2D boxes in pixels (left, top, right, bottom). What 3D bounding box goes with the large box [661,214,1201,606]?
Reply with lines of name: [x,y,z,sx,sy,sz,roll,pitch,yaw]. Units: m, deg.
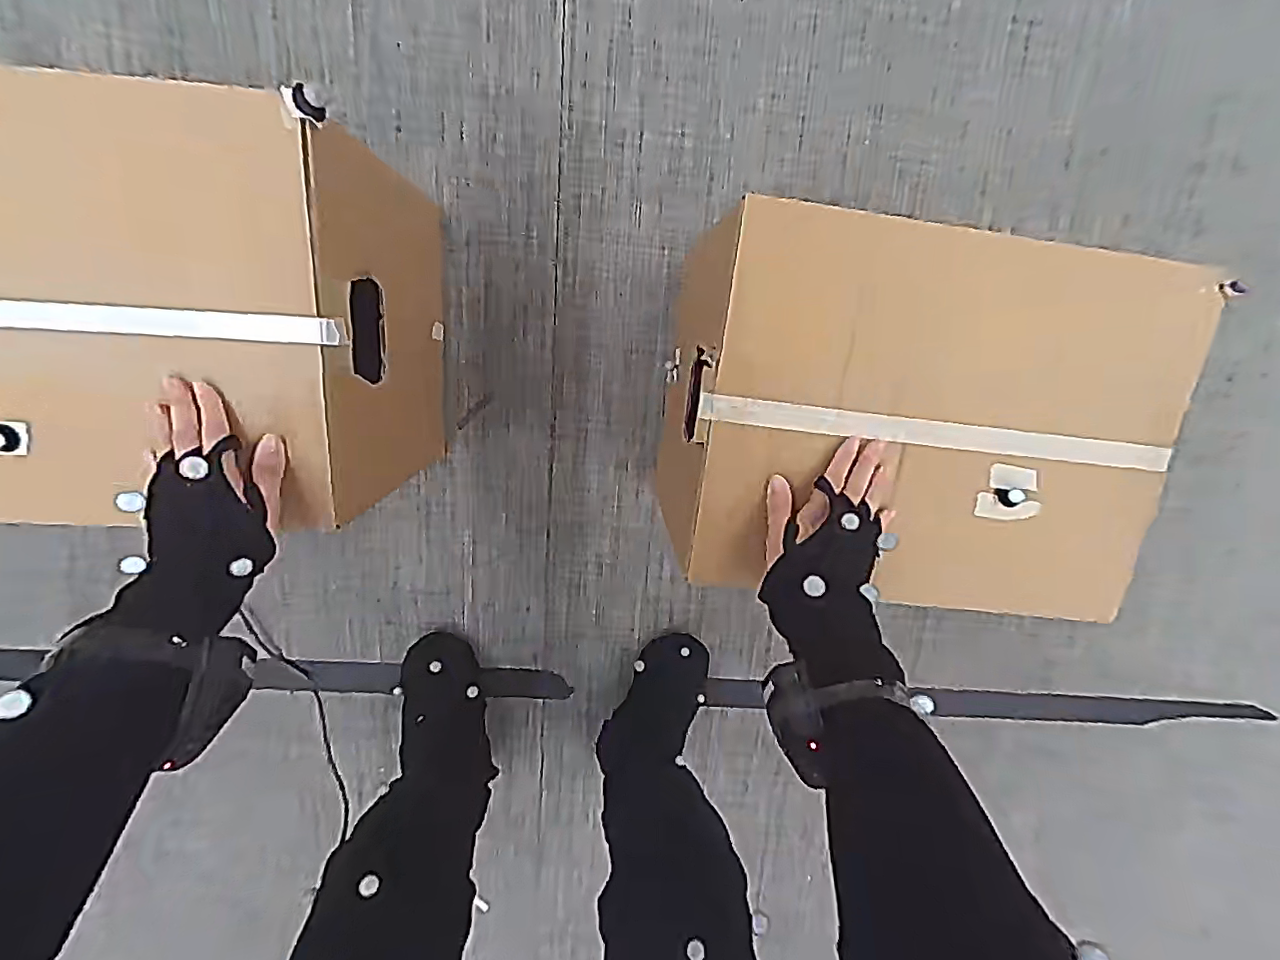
large box: [0.250,-0.076,0.613,0.408,0.320,0.320,6,104,-6]
